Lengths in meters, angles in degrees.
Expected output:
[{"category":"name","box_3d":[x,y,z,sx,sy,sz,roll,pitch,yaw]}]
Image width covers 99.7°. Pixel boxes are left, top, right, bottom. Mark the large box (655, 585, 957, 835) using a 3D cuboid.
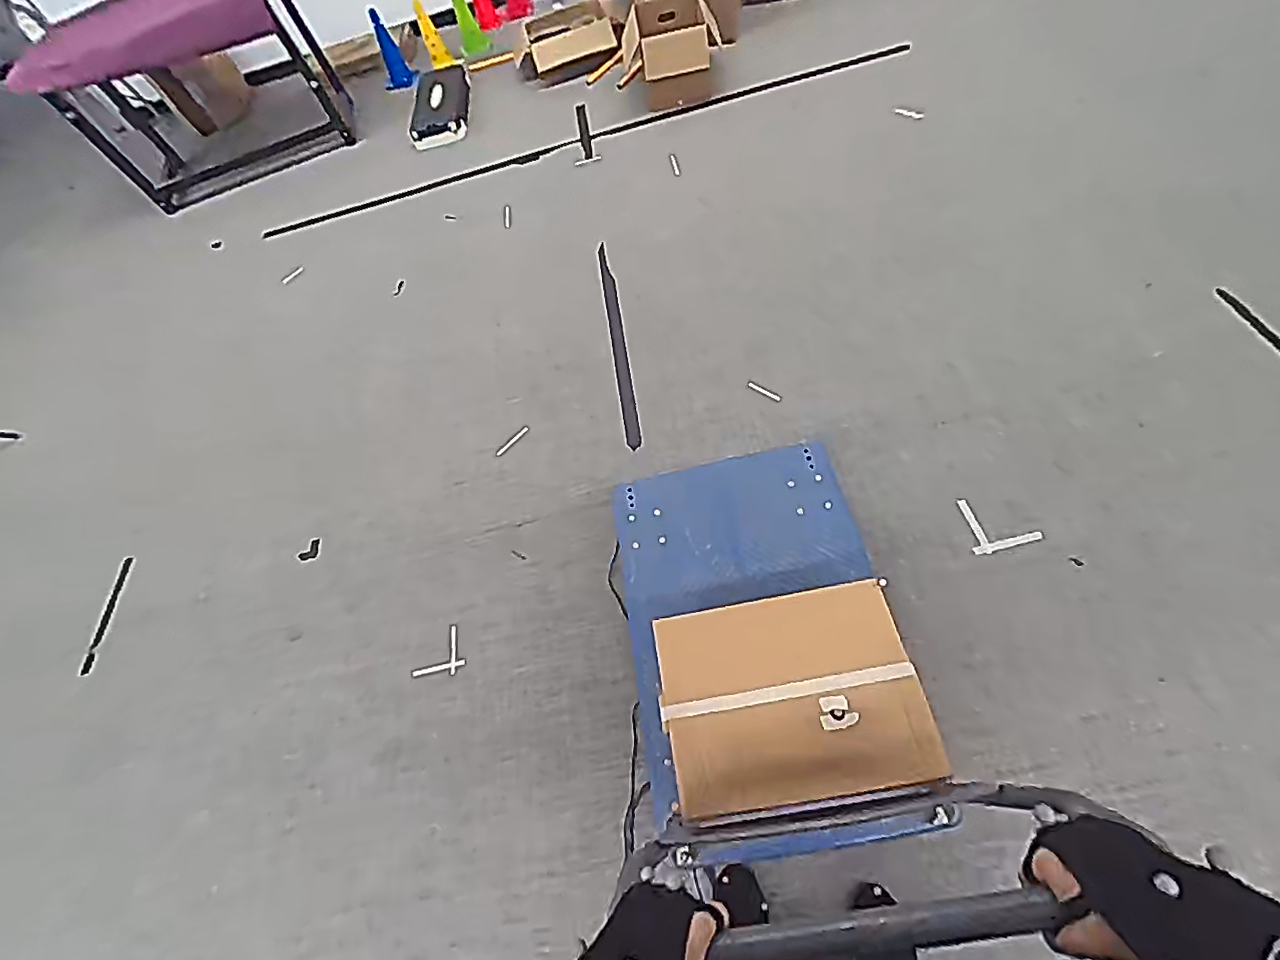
[{"category":"large box","box_3d":[0.263,0.425,0.986,0.408,0.320,0.320,-12,59,4]}]
